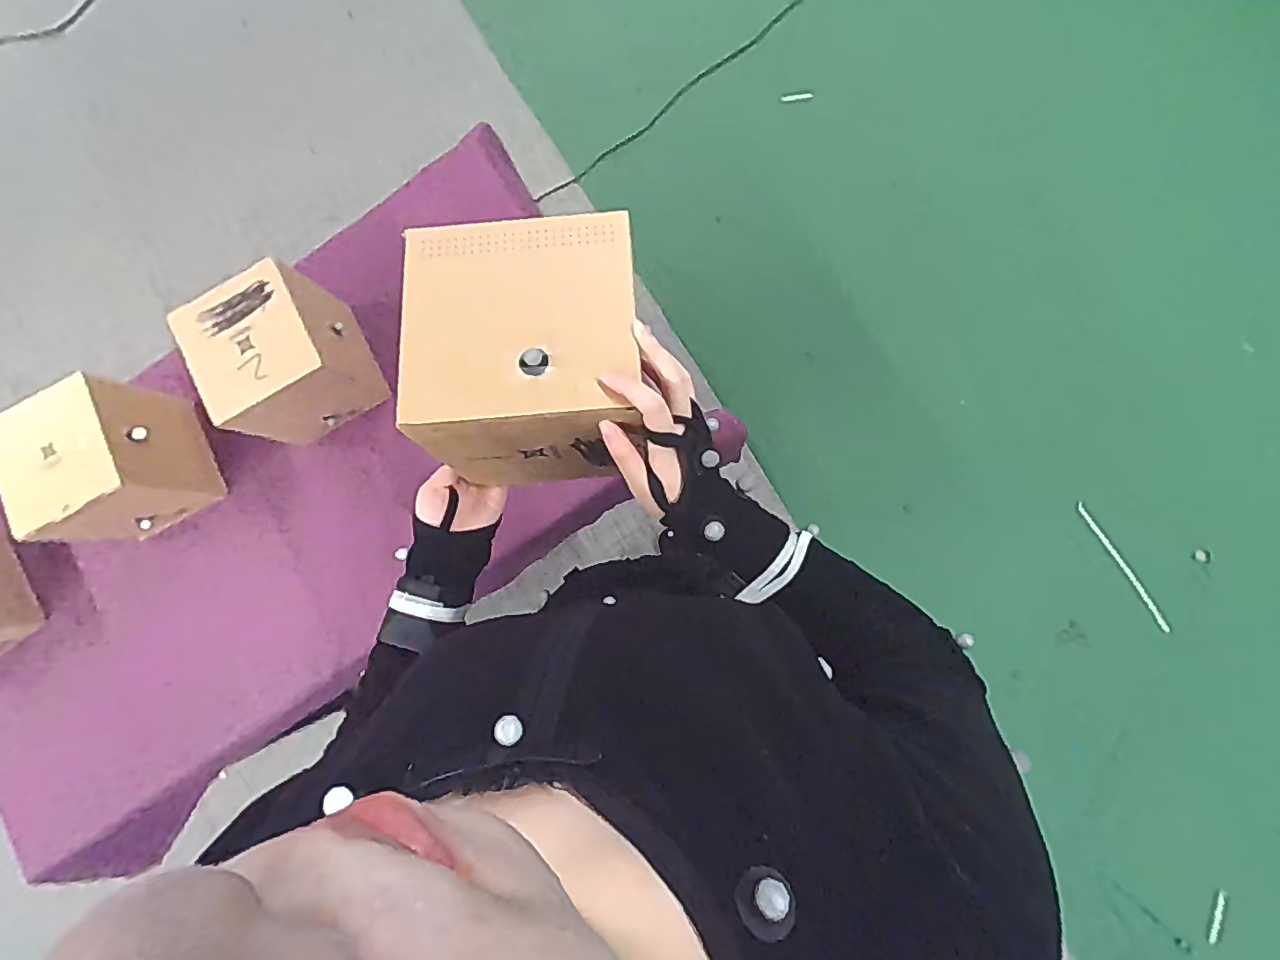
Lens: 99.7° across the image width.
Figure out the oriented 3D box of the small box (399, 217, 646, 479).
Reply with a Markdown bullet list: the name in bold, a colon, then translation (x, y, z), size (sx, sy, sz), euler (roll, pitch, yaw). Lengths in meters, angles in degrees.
- **small box**: translation (-0.088, -0.106, 0.475), size (0.179, 0.168, 0.176), euler (-3, 75, 1)

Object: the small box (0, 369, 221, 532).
- **small box**: translation (-0.778, -0.032, 0.797), size (0.168, 0.176, 0.179), euler (-27, 84, 2)

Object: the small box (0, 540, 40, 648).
- **small box**: translation (-1.074, 0.187, 0.798), size (0.168, 0.176, 0.179), euler (-34, 83, 1)
